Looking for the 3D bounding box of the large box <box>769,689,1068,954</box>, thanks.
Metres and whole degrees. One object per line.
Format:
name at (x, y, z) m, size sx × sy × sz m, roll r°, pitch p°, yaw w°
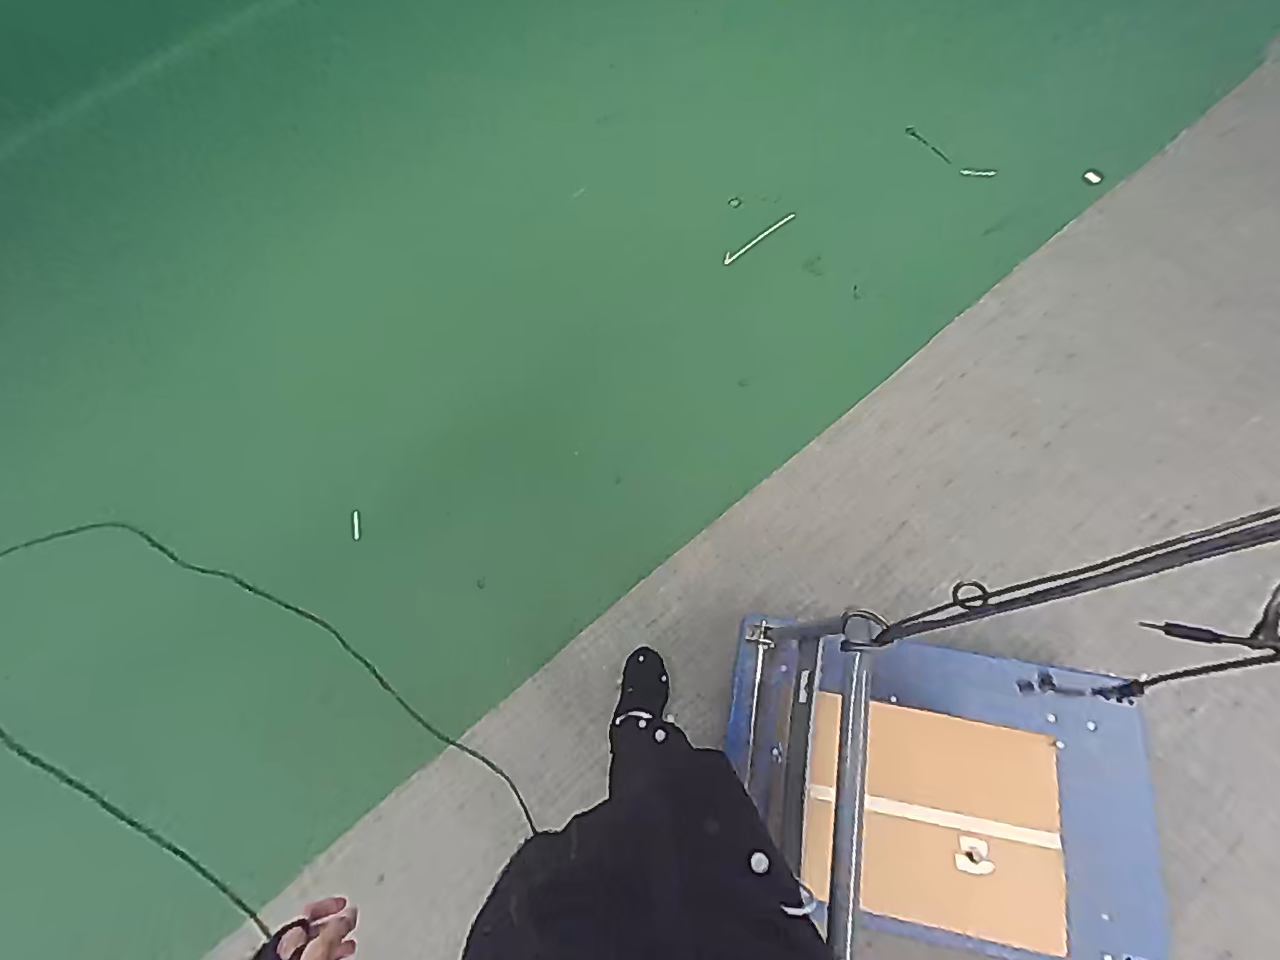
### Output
large box at (0.480, 0.590, 1.016) m, size 0.408 × 0.320 × 0.320 m, roll 10°, pitch 72°, yaw 6°
